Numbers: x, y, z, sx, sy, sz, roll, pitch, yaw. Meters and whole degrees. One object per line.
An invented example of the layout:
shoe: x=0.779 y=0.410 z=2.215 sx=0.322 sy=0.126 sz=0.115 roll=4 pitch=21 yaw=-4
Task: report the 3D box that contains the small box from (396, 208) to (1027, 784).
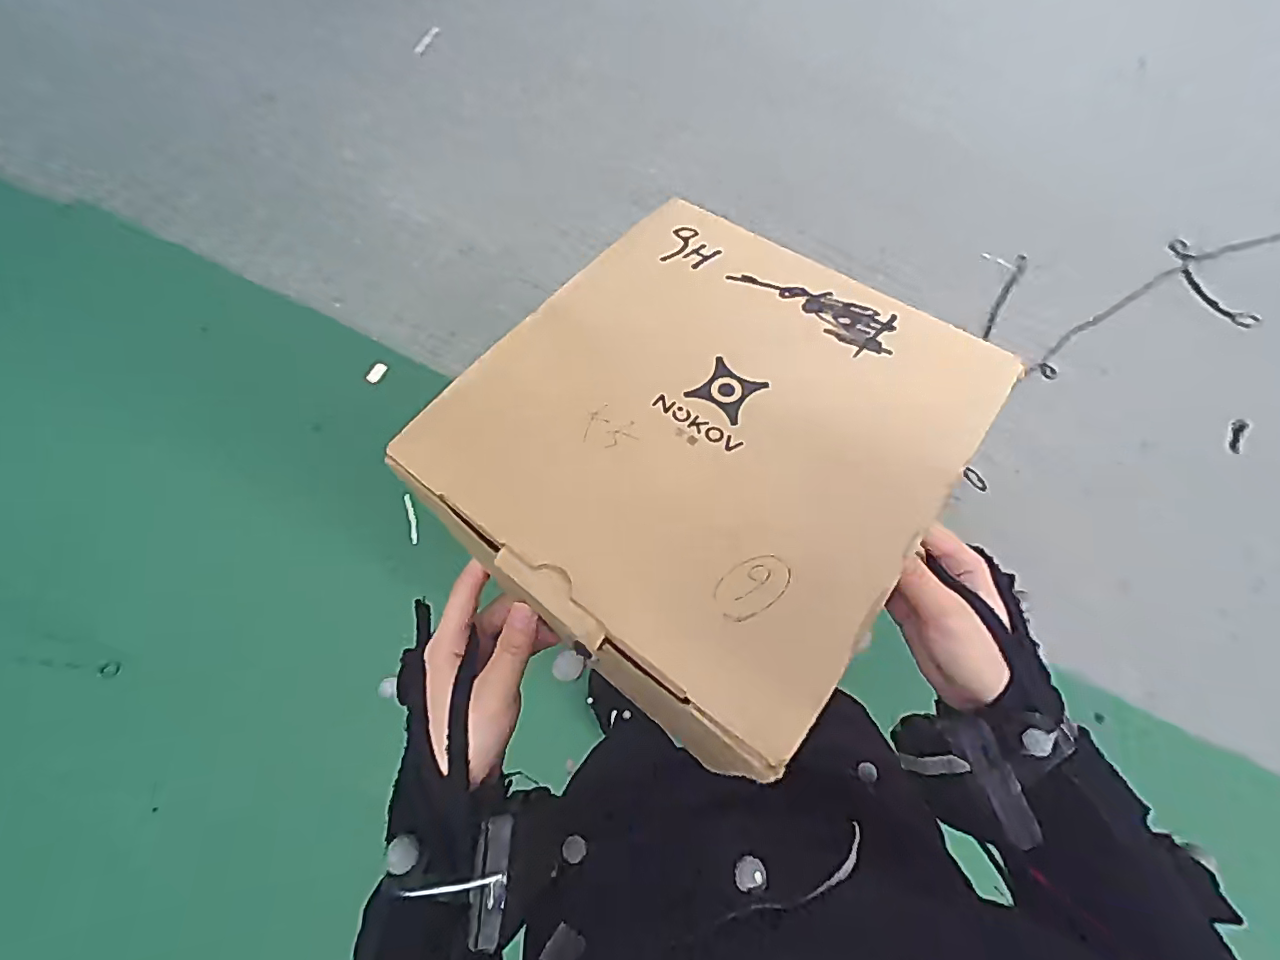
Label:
small box: x=0.031 y=0.015 z=0.266 sx=0.168 sy=0.176 sz=0.179 roll=35 pitch=70 yaw=19
